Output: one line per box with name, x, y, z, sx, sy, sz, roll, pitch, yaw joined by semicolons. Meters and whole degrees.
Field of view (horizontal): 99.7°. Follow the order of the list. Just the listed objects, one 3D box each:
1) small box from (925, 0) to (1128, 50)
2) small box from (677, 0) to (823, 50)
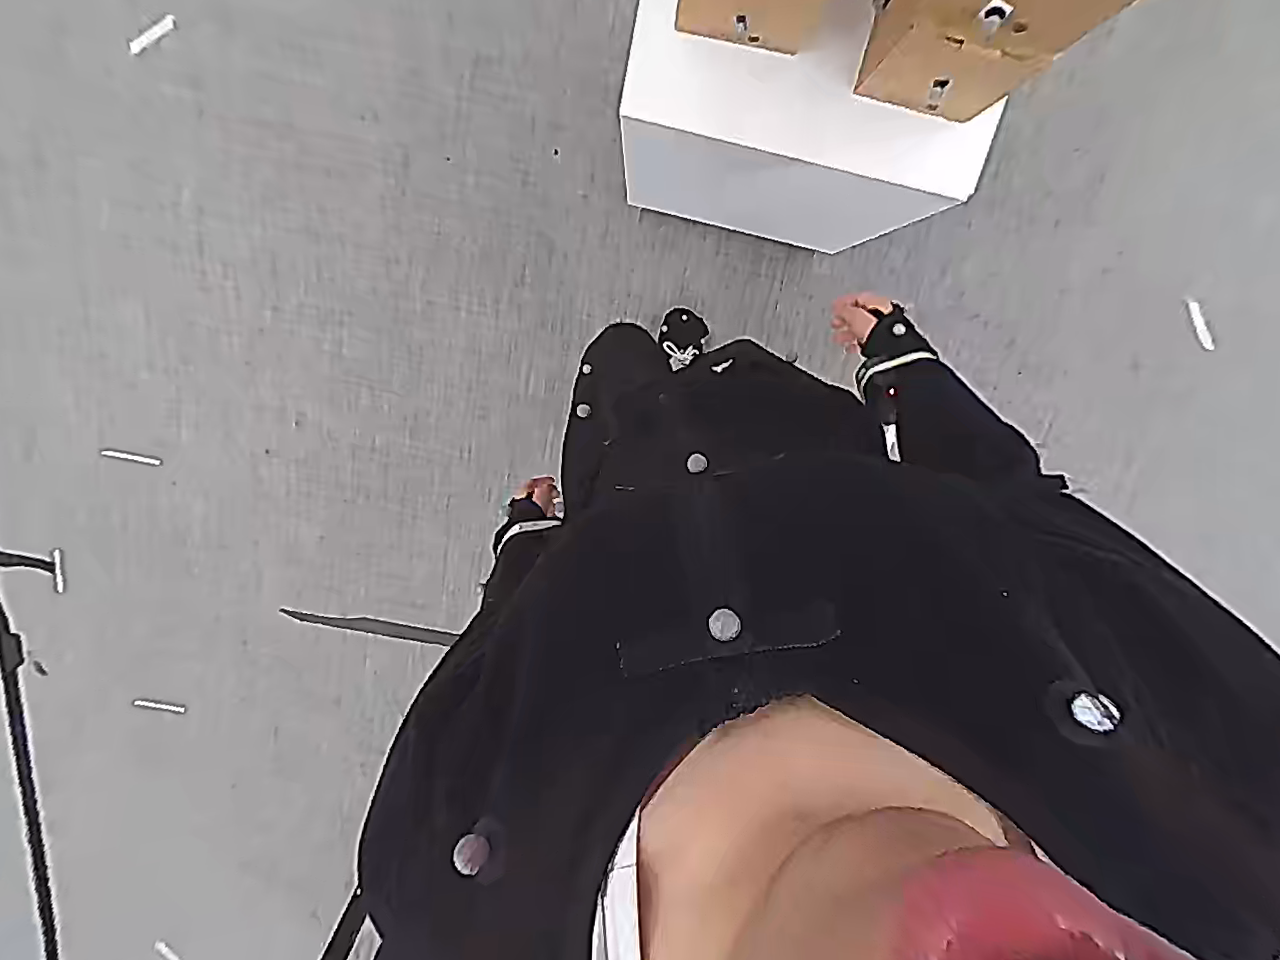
small box;0.386;-0.534;0.474;0.168;0.176;0.179;13;105;-2
small box;0.140;-0.641;0.611;0.168;0.176;0.179;10;106;-3
